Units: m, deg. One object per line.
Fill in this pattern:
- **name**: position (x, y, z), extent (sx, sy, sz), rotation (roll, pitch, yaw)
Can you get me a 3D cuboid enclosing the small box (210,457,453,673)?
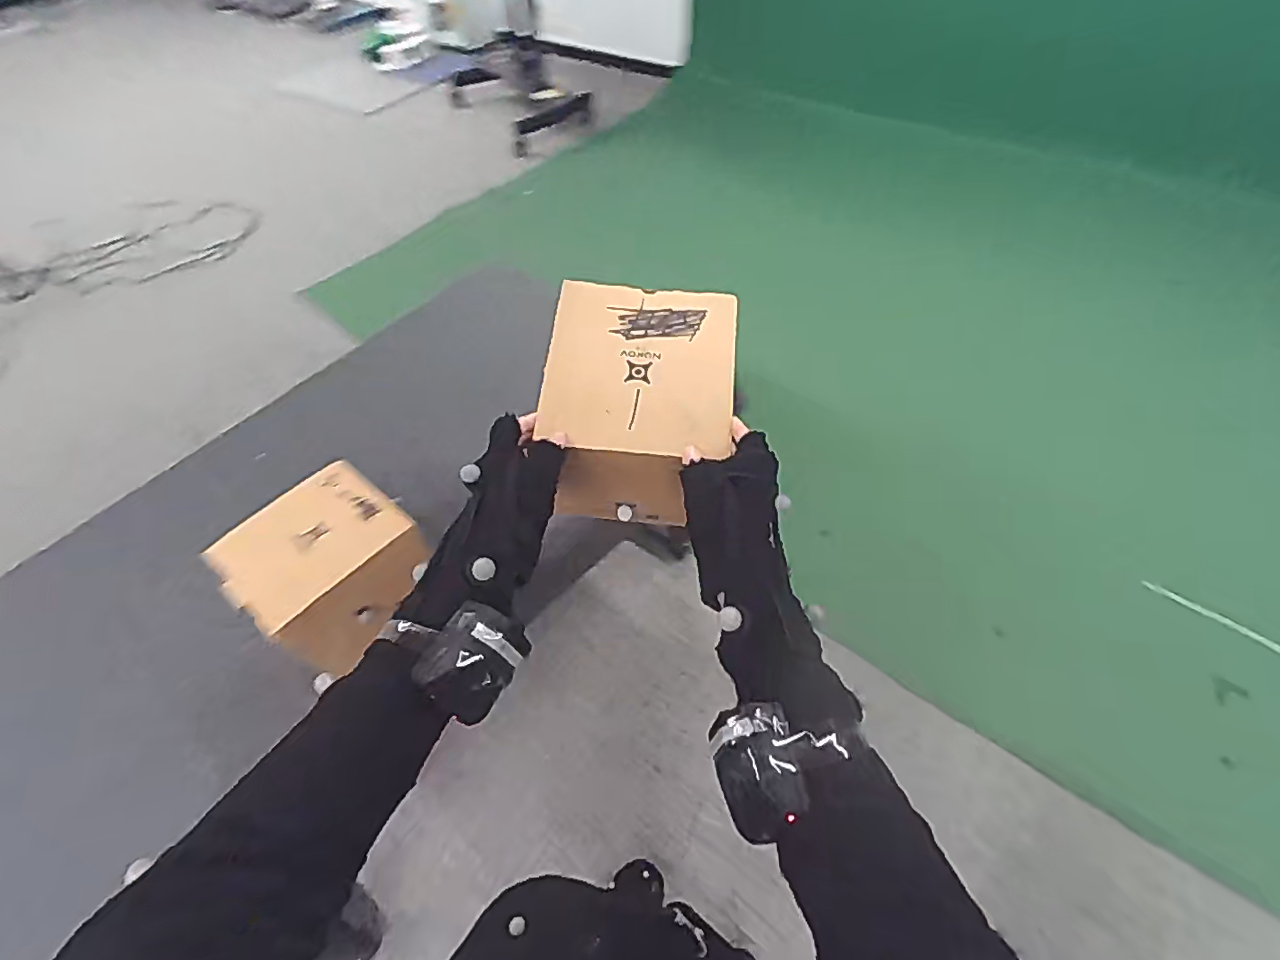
- **small box**: position (-0.373, 0.111, 0.683), extent (0.168, 0.176, 0.179), rotation (33, 62, 26)
